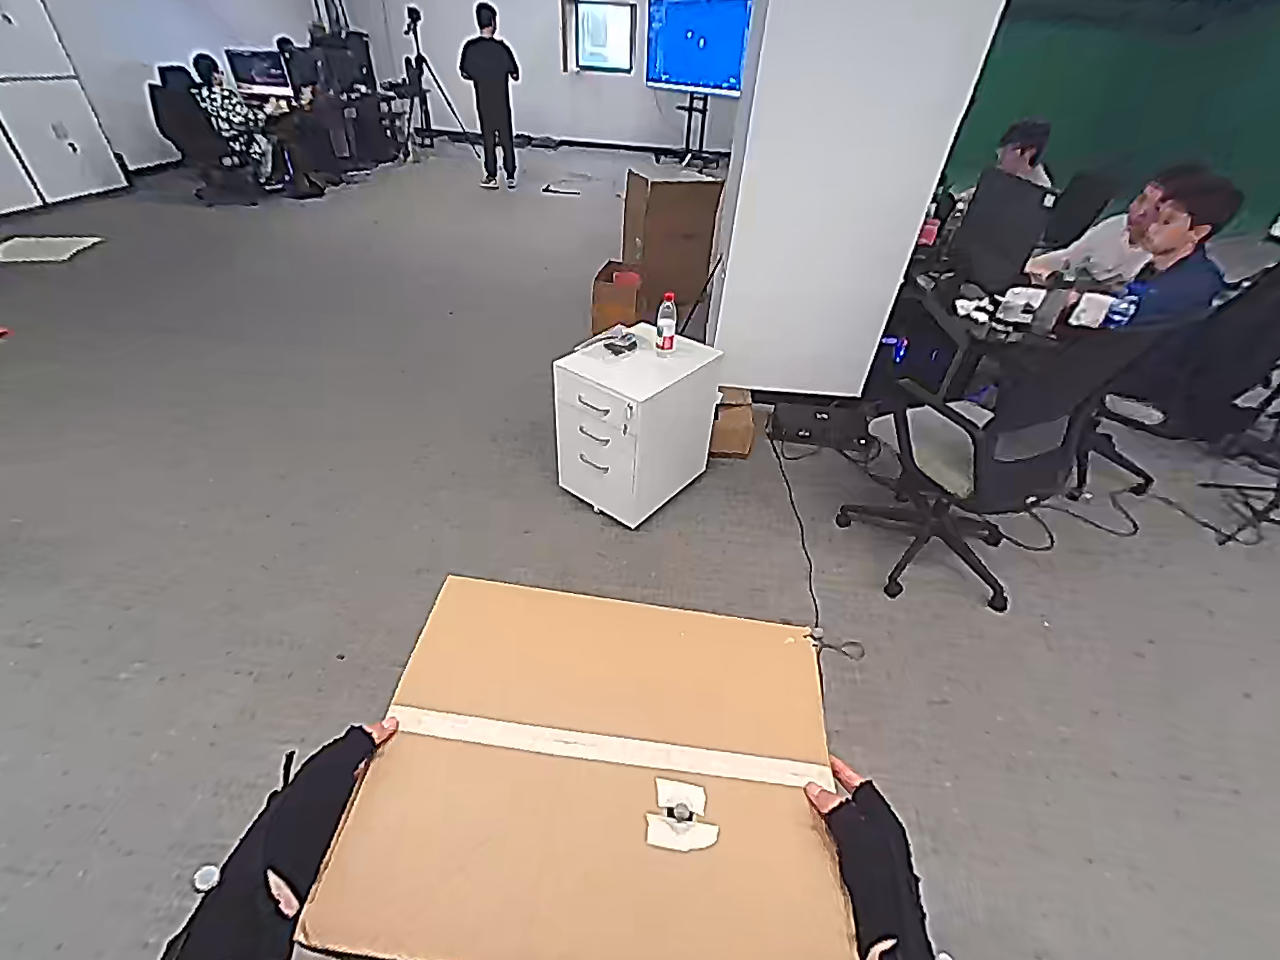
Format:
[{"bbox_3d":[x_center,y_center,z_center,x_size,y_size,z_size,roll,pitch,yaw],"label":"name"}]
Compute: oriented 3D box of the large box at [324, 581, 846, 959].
[{"bbox_3d":[-0.044,0.351,0.609,0.408,0.320,0.320,9,45,0],"label":"large box"}]
